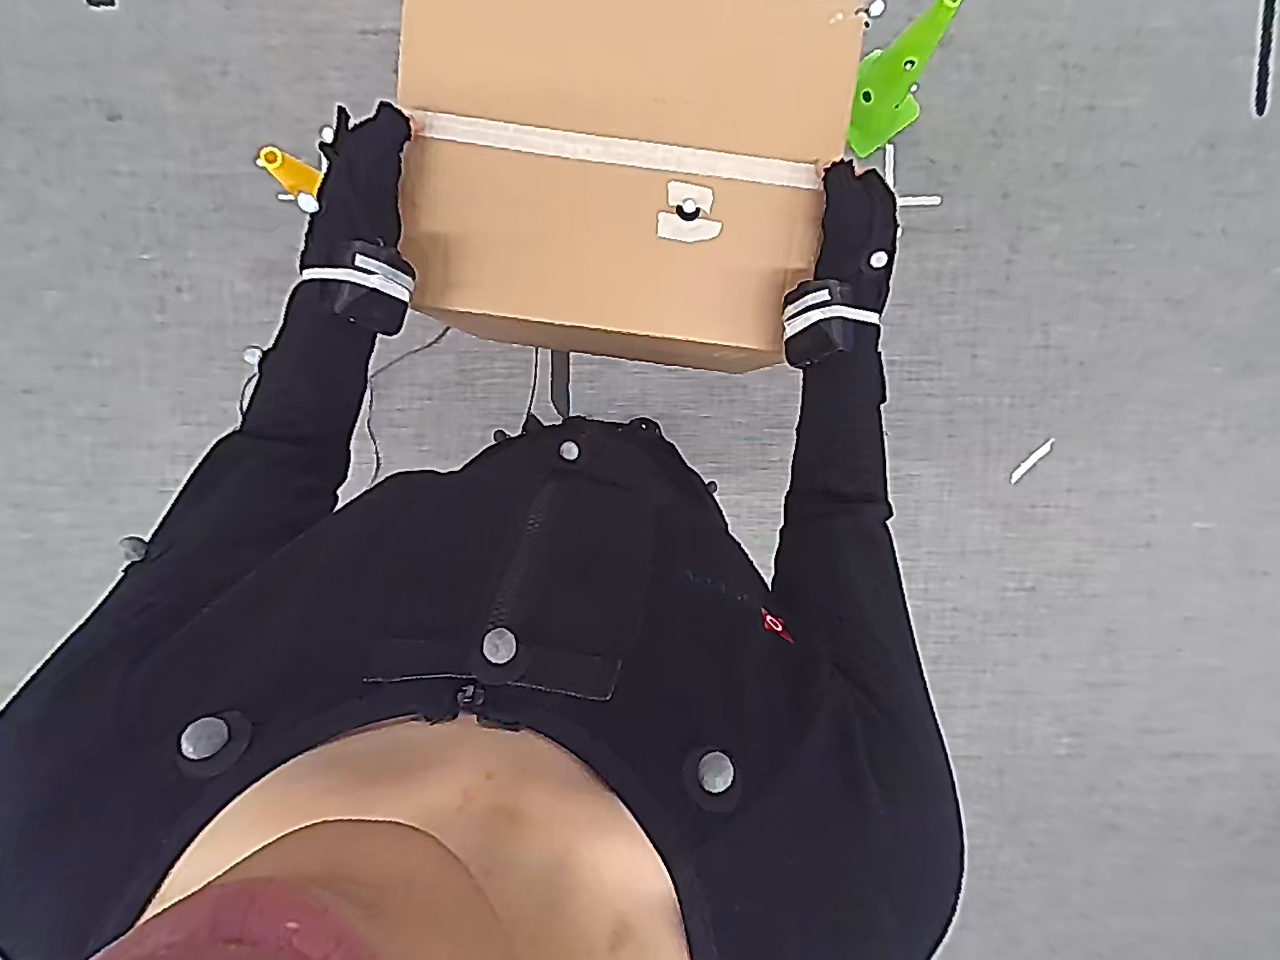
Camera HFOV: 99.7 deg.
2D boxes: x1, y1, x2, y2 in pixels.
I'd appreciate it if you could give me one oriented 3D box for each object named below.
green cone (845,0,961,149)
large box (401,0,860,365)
[{"bbox_3d":[0.606,-0.965,1.214,0.202,0.368,0.200,-37,96,1],"label":"green cone"},{"bbox_3d":[-0.020,-0.323,0.643,0.408,0.320,0.320,7,98,-3],"label":"large box"}]
